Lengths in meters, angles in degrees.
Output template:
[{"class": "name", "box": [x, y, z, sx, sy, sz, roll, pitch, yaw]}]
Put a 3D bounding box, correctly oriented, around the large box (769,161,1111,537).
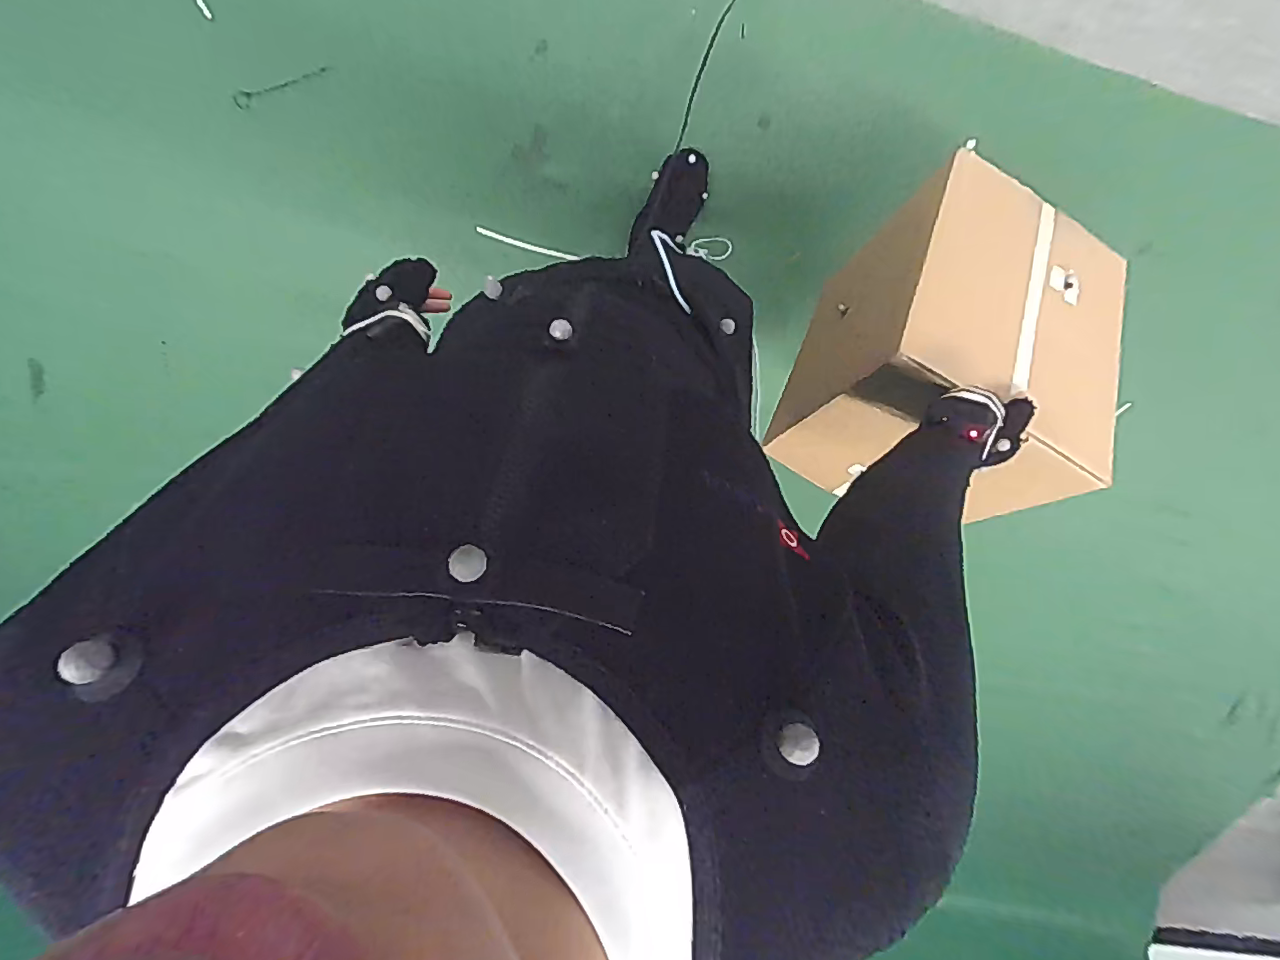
[{"class": "large box", "box": [0.454, -0.178, 0.847, 0.320, 0.408, 0.320, 30, 155, -8]}]
